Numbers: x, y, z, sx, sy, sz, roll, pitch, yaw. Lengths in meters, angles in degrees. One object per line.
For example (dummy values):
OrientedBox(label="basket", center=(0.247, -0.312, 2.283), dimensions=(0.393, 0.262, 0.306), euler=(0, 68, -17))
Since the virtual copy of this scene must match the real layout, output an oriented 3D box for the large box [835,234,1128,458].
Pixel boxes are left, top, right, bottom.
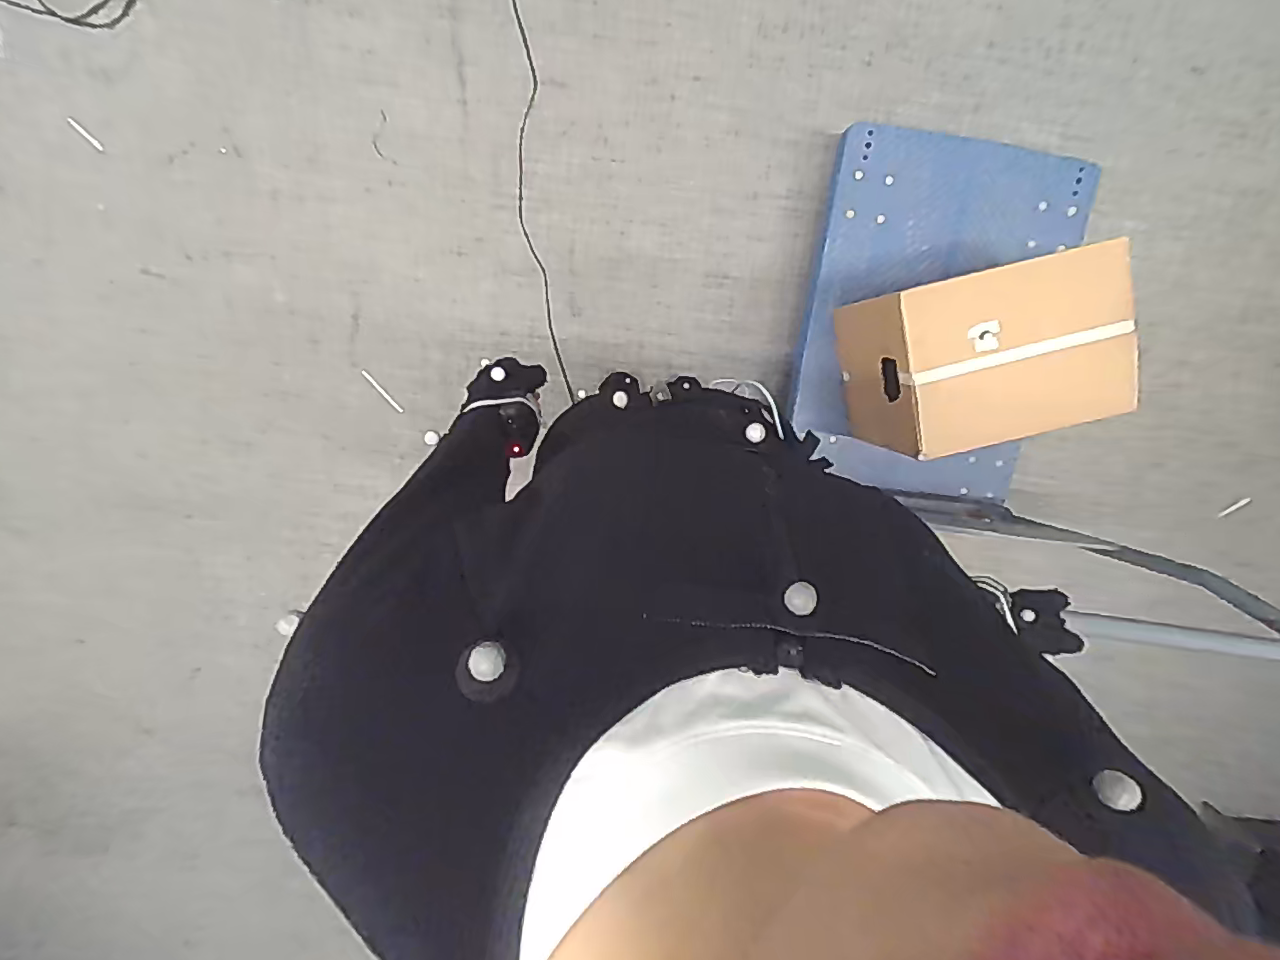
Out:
OrientedBox(label="large box", center=(0.672, -0.267, 1.117), dimensions=(0.408, 0.320, 0.320), euler=(-14, 102, 3))
